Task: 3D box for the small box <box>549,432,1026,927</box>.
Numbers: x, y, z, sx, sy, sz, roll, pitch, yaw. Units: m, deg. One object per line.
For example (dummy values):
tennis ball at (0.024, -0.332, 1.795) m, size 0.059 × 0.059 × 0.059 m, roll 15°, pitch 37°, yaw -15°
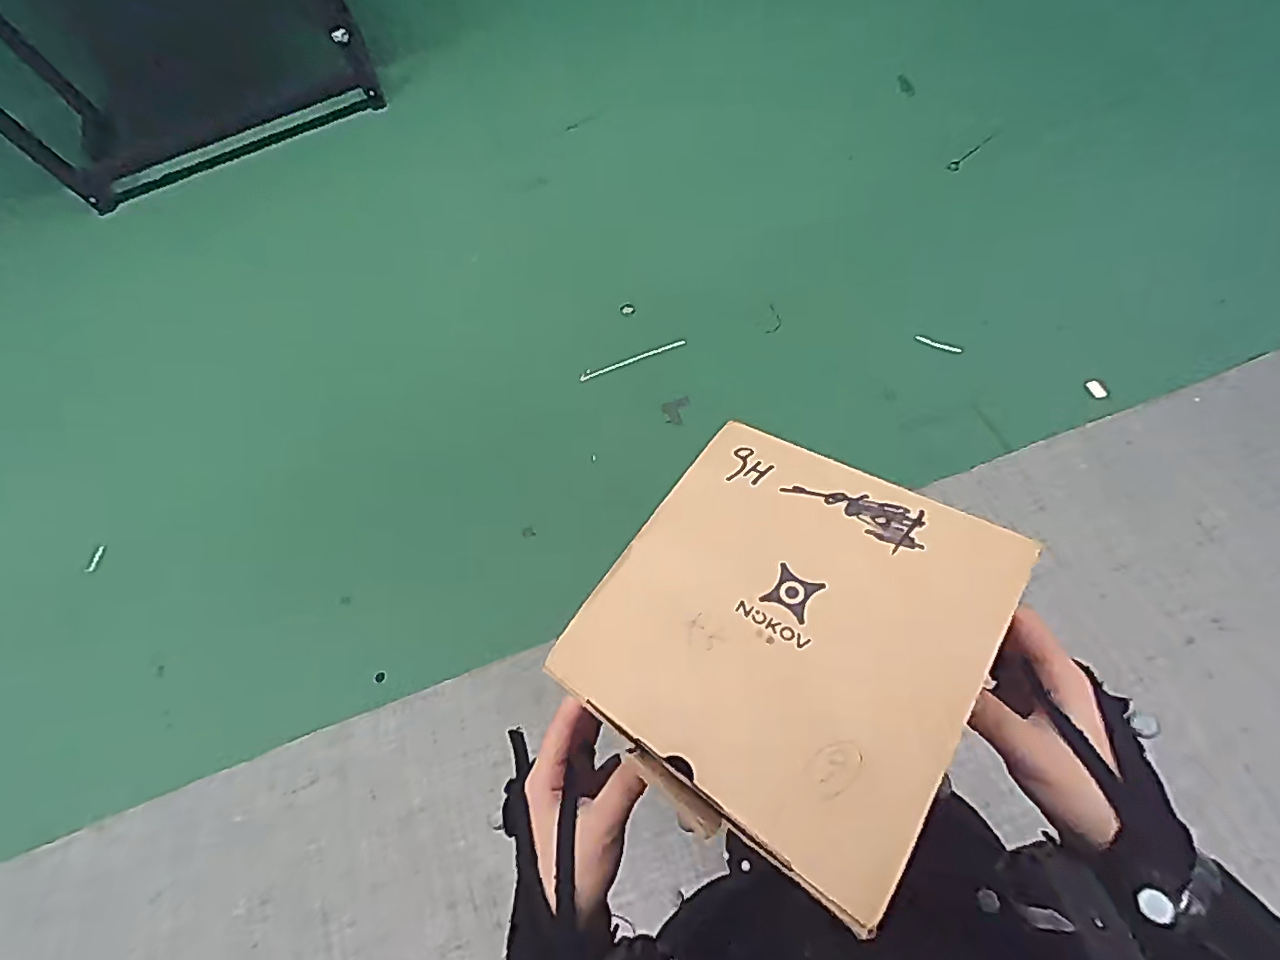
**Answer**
small box at (0.084, 0.109, 0.322) m, size 0.168 × 0.176 × 0.179 m, roll 27°, pitch 67°, yaw 29°
